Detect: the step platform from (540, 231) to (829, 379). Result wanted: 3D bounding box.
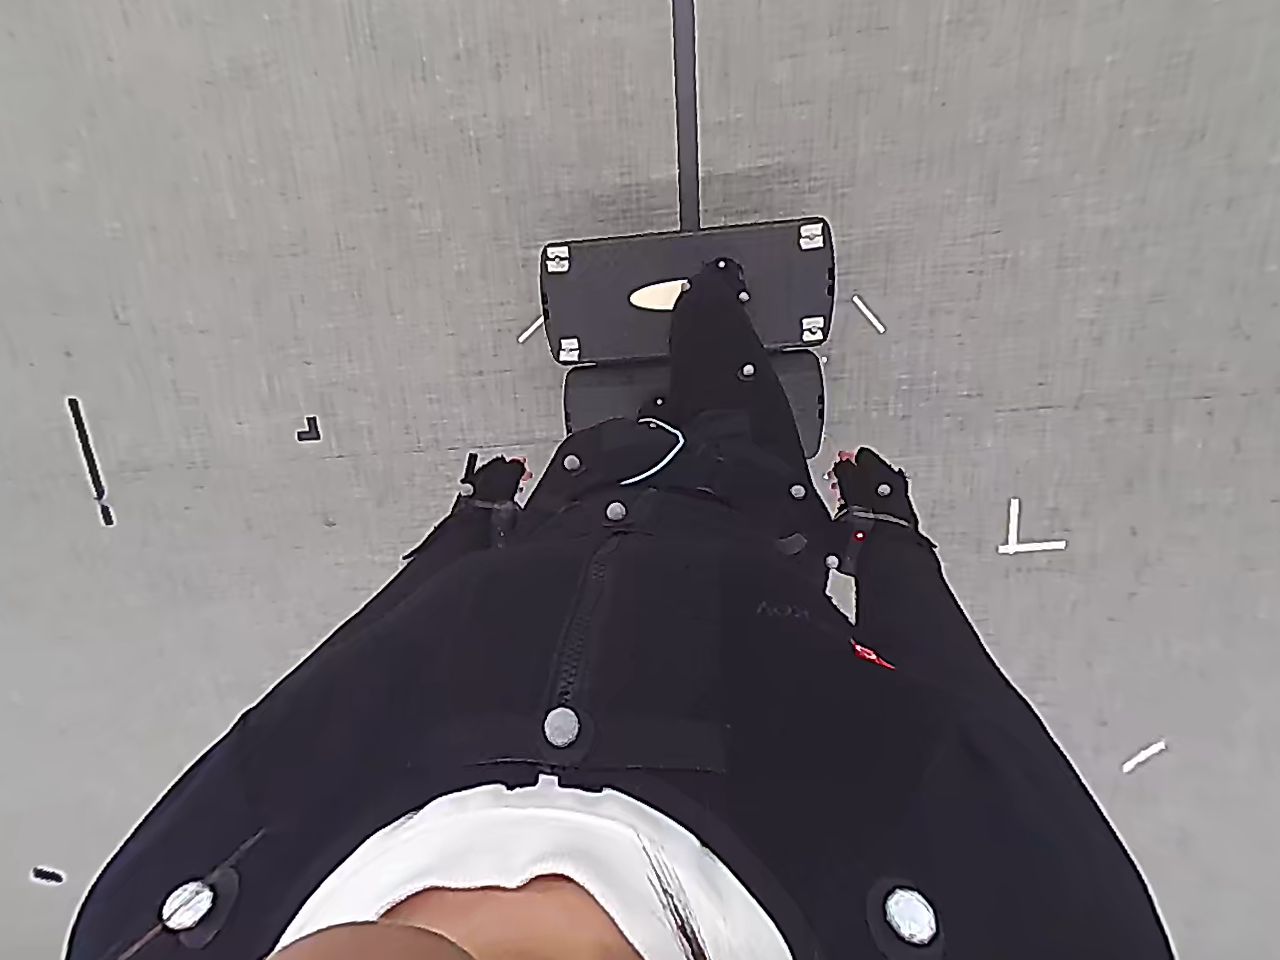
[{"bbox_3d":[0.102,-0.418,1.321,0.684,0.204,0.286,-4,105,5],"label":"step platform"}]
